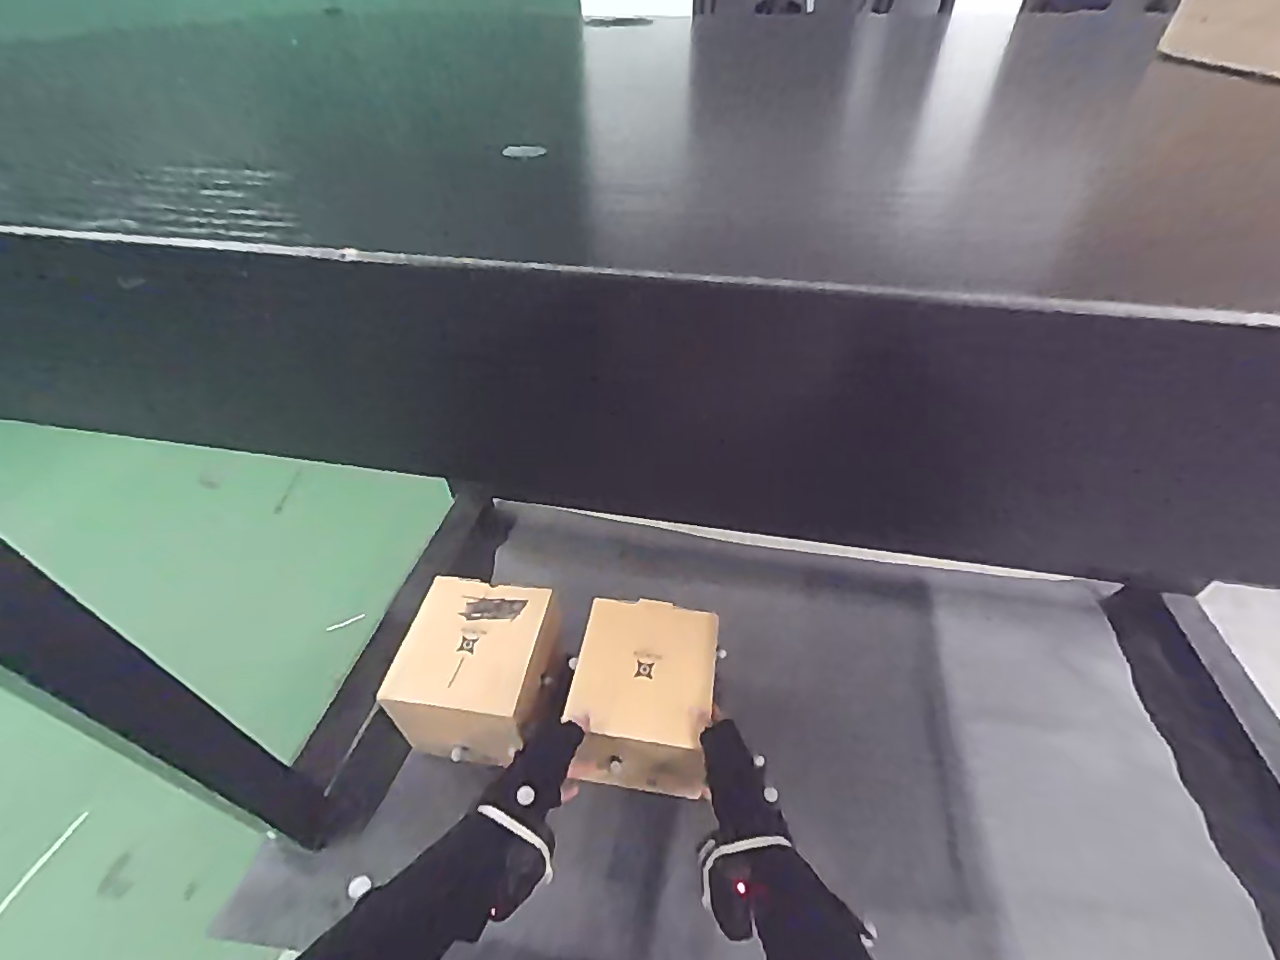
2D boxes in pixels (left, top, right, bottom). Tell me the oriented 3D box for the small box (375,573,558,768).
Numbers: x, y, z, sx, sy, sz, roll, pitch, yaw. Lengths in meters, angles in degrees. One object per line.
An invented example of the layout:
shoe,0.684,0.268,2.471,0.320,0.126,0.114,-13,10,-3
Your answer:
small box,-0.213,0.253,0.724,0.168,0.176,0.179,6,43,7
